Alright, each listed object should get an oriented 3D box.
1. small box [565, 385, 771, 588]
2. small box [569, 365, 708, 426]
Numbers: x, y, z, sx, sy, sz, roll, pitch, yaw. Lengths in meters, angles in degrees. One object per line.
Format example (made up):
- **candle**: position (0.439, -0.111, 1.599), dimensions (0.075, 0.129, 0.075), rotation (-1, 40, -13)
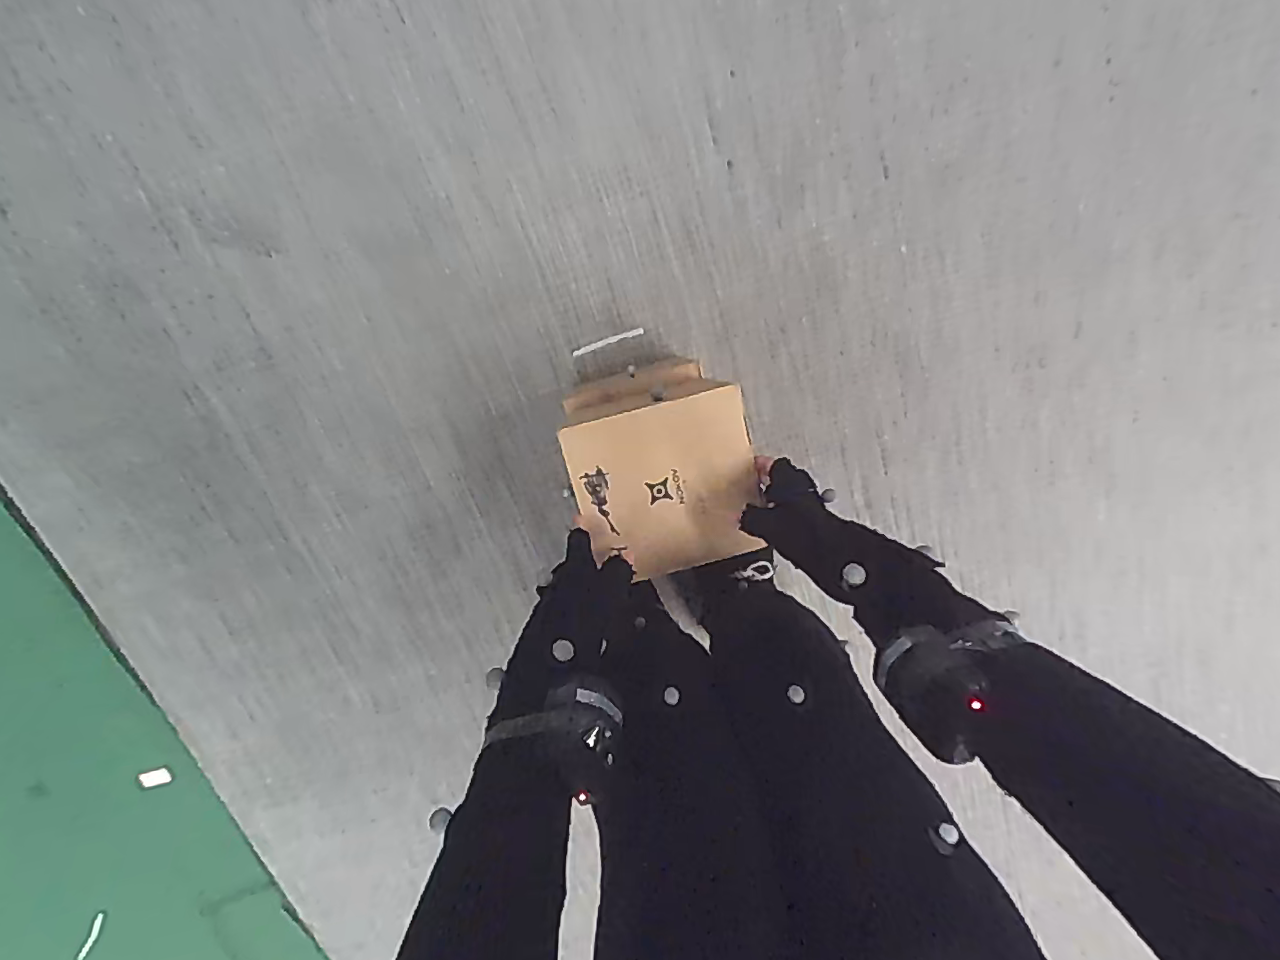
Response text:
- **small box**: position (0.025, -0.006, 0.596), dimensions (0.179, 0.176, 0.168), rotation (-14, 102, 0)
- **small box**: position (0.010, -0.059, 0.758), dimensions (0.179, 0.176, 0.168), rotation (-16, 104, 1)
